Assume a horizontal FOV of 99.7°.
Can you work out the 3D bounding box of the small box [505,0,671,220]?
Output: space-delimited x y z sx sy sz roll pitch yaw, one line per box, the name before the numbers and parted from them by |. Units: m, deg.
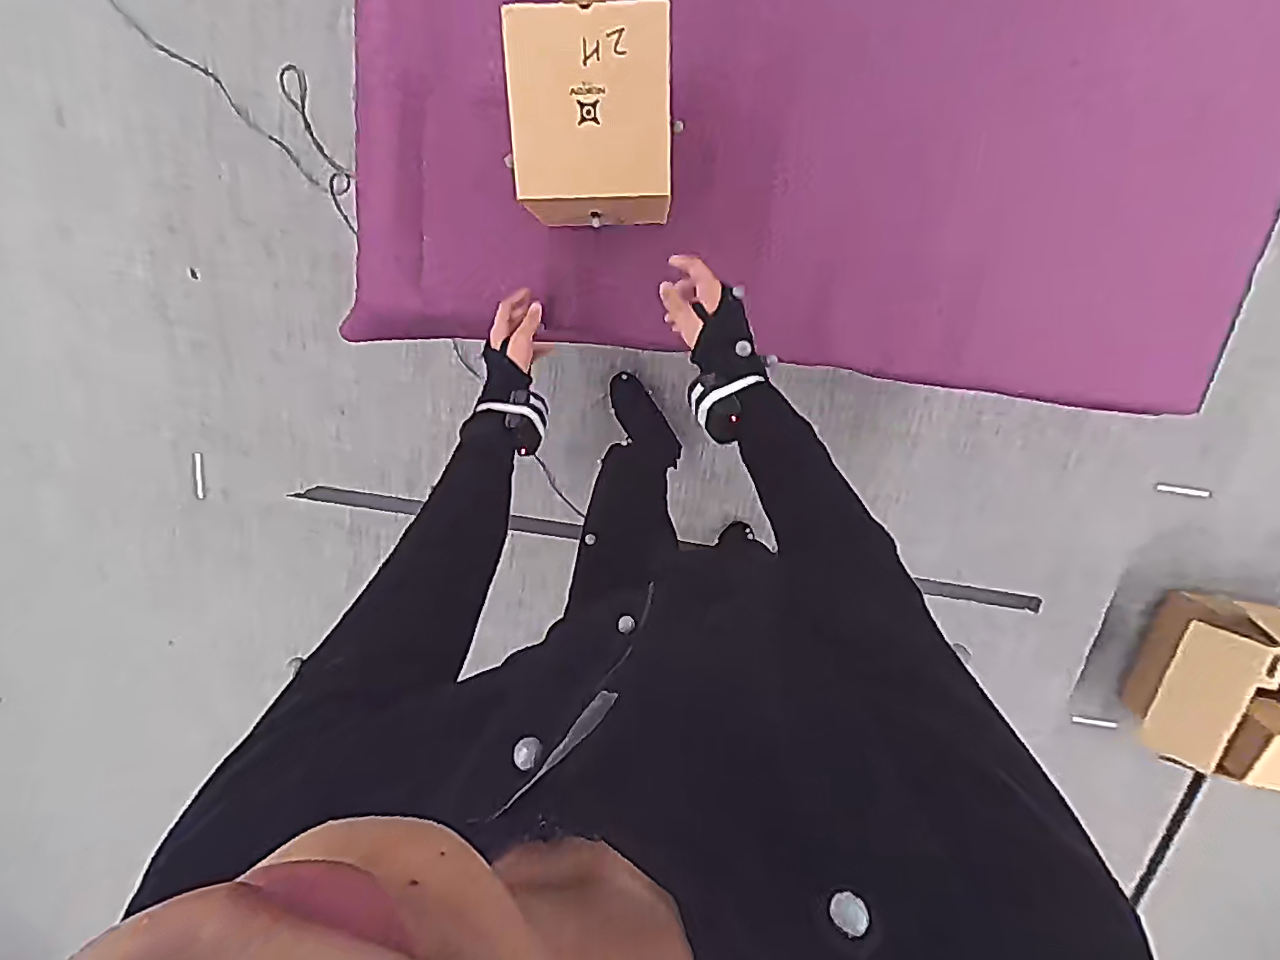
small box | -0.049 -0.405 0.624 0.168 0.176 0.179 -1 106 1
